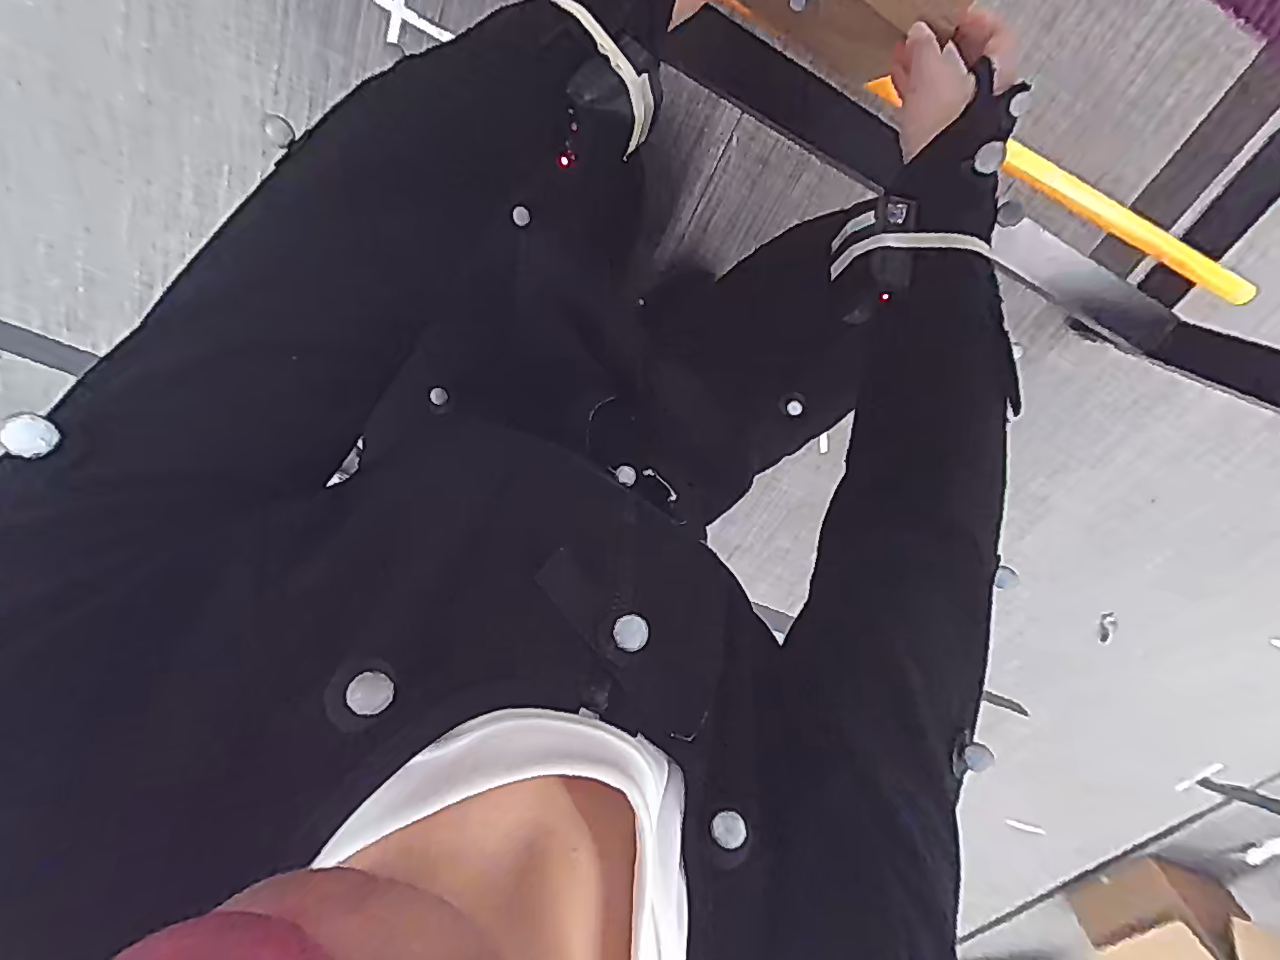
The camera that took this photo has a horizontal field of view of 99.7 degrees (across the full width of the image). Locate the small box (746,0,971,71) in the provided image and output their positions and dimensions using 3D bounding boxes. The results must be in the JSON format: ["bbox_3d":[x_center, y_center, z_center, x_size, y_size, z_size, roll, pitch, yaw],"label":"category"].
[{"bbox_3d":[0.166,-0.430,0.384,0.179,0.176,0.168,24,117,-15],"label":"small box"}]
